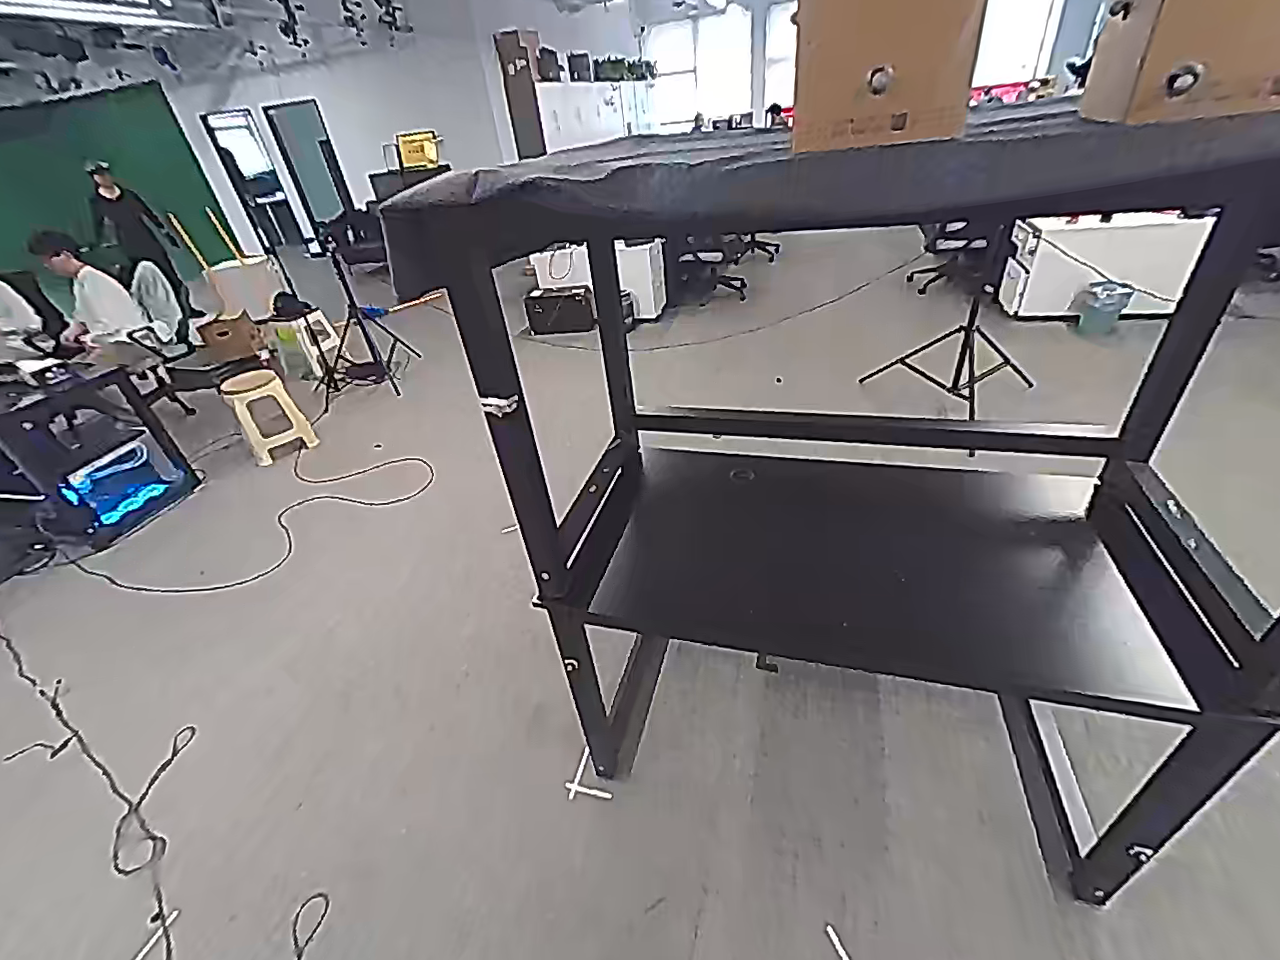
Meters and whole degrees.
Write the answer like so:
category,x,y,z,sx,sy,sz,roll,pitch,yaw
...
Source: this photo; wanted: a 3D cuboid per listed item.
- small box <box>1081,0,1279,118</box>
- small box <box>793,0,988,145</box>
category,x,y,z,sx,sy,sz,roll,pitch,yaw
small box,0.543,-0.438,0.490,0.168,0.176,0.179,7,35,20
small box,0.256,-0.460,0.573,0.168,0.176,0.179,5,34,18
